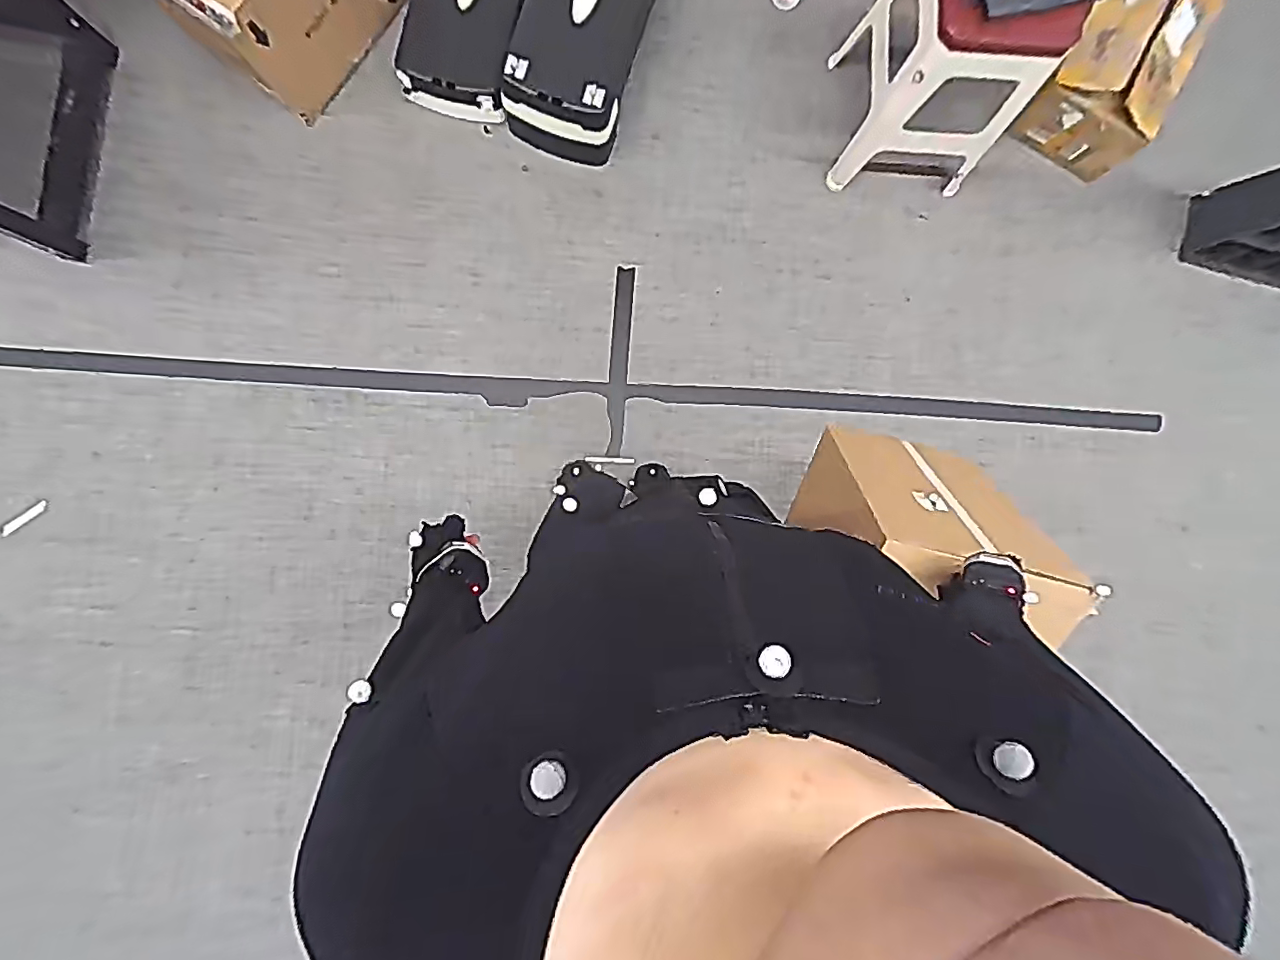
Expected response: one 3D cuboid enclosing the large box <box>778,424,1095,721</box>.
[{"bbox_3d":[0.475,0.149,0.995,0.320,0.408,0.320,14,121,-1],"label":"large box"}]
